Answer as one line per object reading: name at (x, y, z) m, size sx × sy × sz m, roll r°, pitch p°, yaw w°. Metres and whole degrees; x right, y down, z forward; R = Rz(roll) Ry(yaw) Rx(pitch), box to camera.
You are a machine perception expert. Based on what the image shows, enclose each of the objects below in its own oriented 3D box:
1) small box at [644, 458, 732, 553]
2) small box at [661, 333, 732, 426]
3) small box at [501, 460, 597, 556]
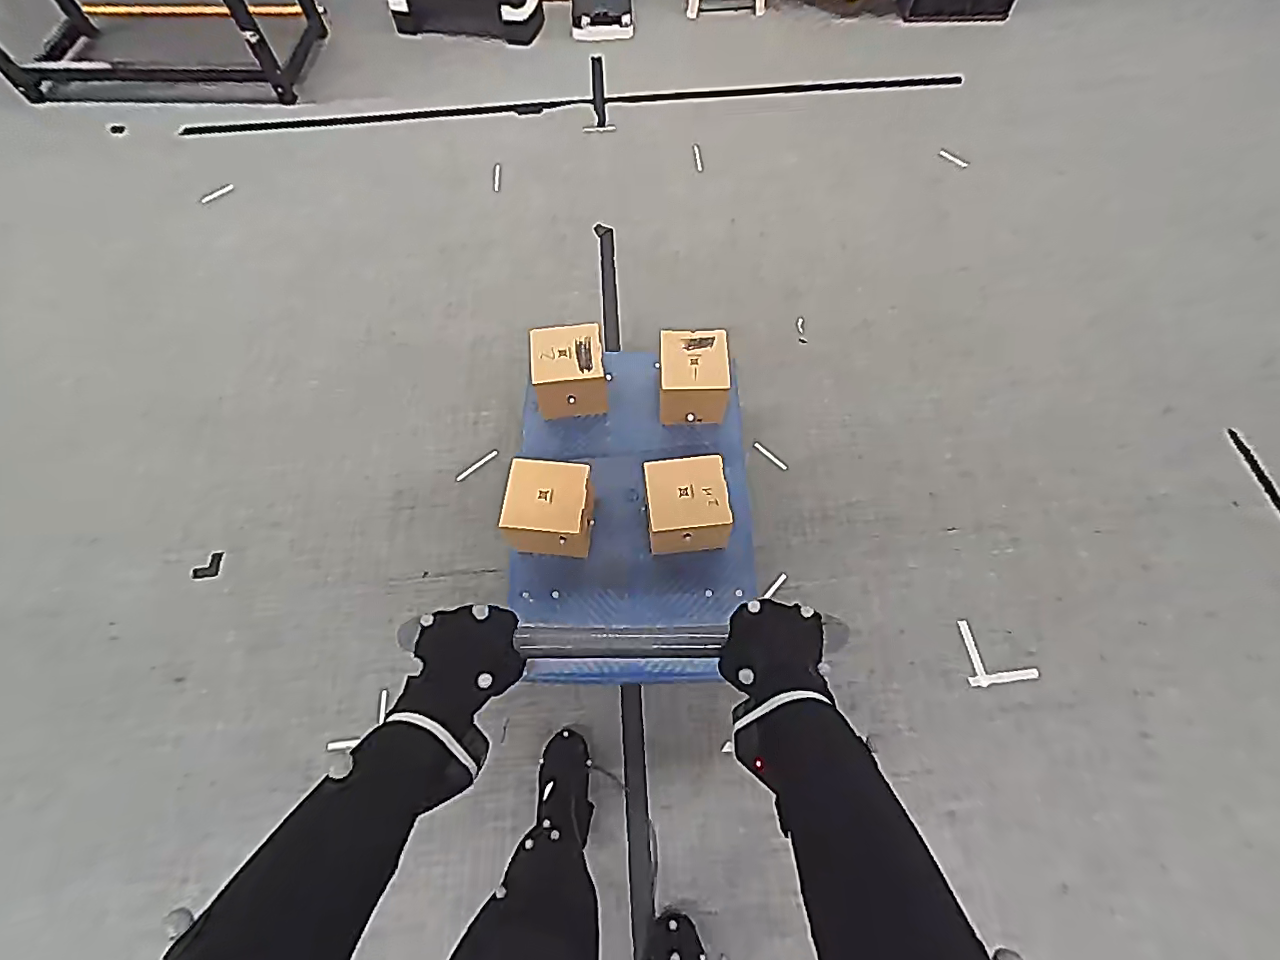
small box at (0.105, 0.064, 1.244) m, size 0.179 × 0.176 × 0.168 m, roll -5°, pitch 66°, yaw -1°
small box at (0.138, -0.256, 1.389) m, size 0.168 × 0.176 × 0.179 m, roll 0°, pitch 66°, yaw 1°
small box at (-0.202, 0.069, 1.248) m, size 0.179 × 0.176 × 0.168 m, roll 5°, pitch 65°, yaw 2°
